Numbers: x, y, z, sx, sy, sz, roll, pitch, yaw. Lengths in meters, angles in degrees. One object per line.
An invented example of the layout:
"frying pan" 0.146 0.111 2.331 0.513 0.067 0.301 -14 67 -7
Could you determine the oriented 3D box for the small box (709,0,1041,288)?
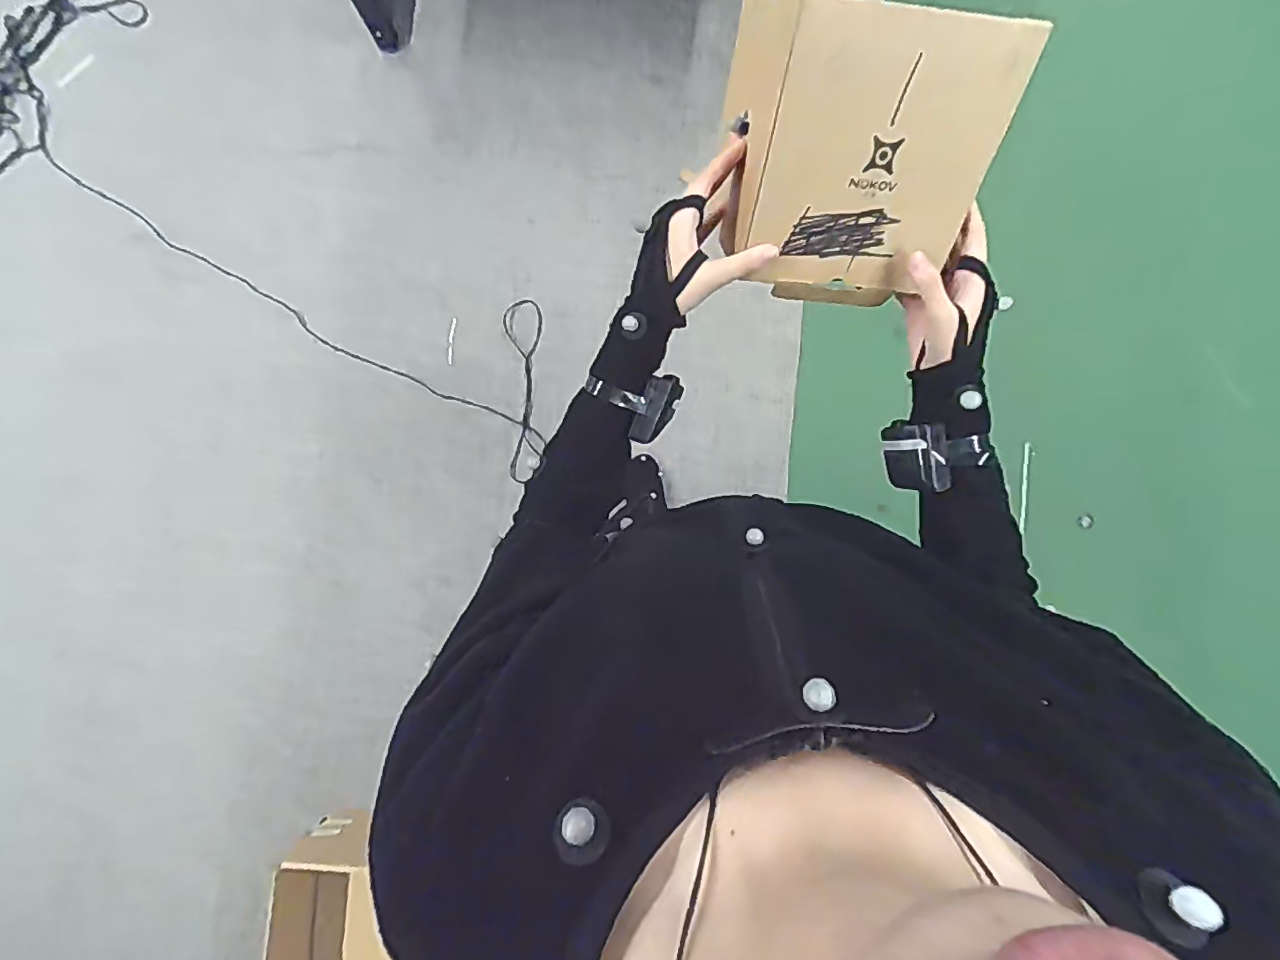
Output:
"small box" 0.160 -0.281 0.444 0.168 0.176 0.179 2 131 -8
